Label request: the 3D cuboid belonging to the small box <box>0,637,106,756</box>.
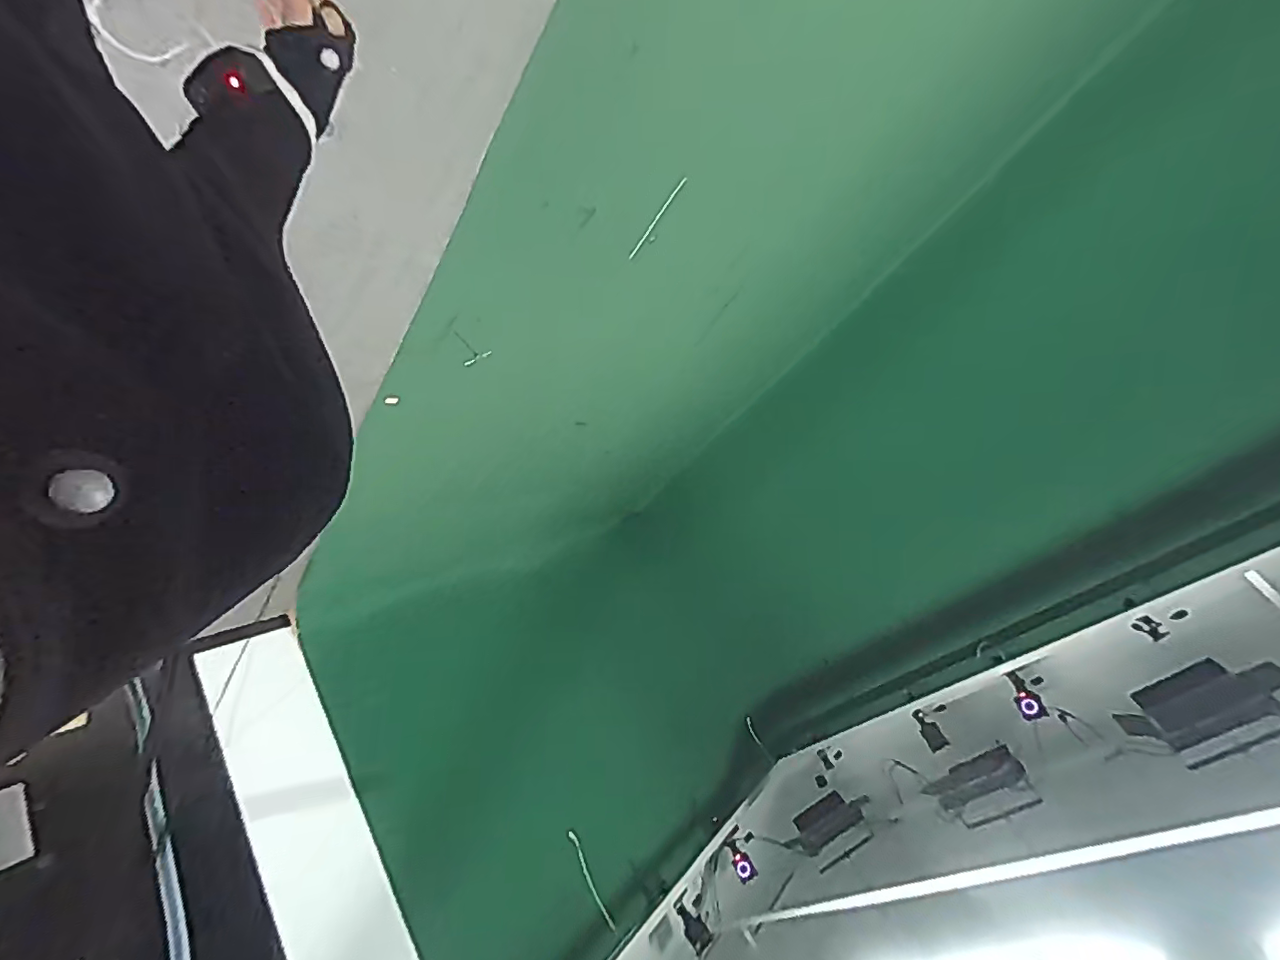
[{"bbox_3d":[-1.374,0.492,1.246,0.179,0.176,0.168,-10,151,-52],"label":"small box"}]
